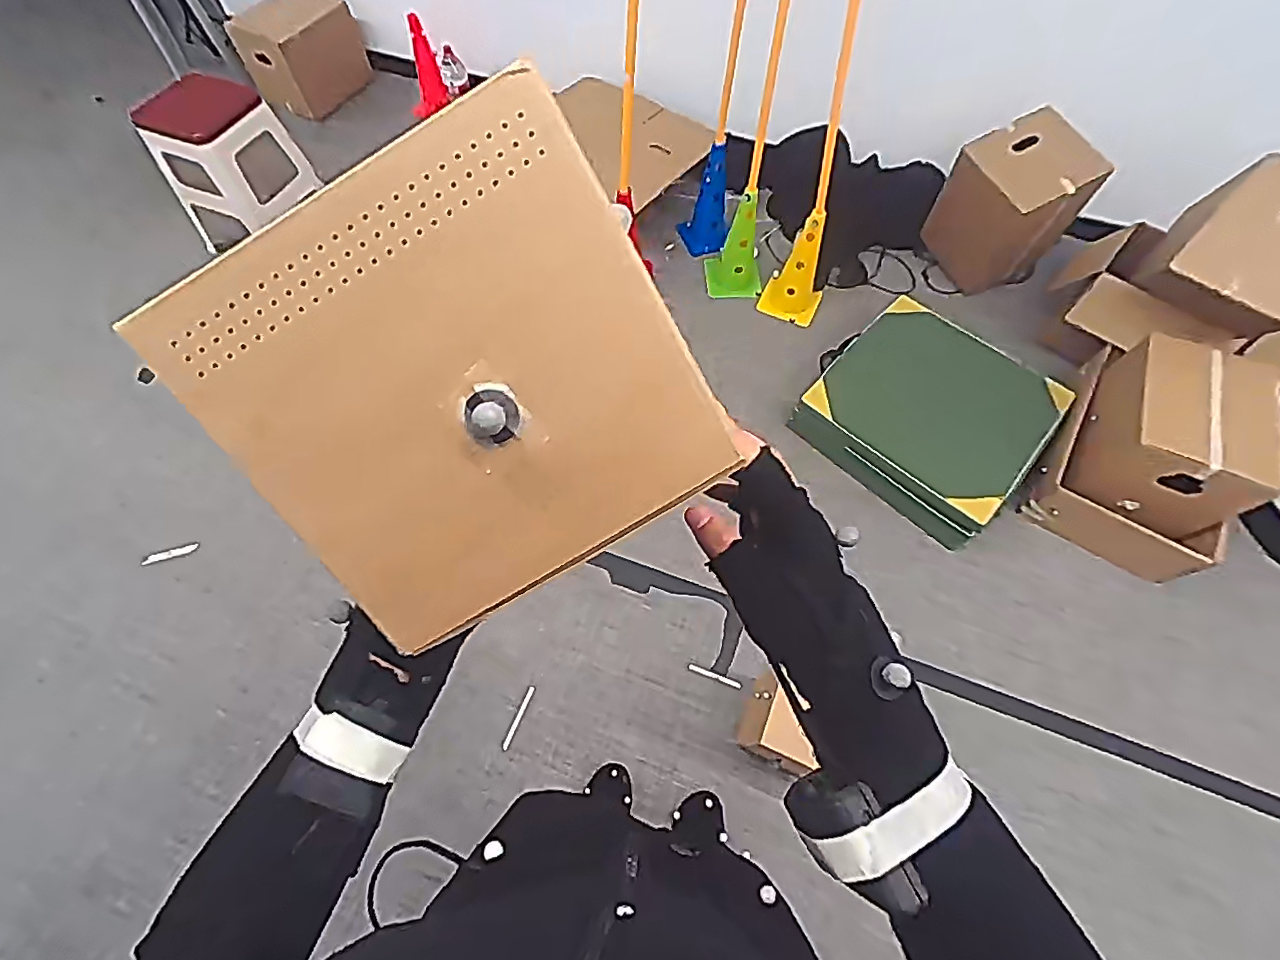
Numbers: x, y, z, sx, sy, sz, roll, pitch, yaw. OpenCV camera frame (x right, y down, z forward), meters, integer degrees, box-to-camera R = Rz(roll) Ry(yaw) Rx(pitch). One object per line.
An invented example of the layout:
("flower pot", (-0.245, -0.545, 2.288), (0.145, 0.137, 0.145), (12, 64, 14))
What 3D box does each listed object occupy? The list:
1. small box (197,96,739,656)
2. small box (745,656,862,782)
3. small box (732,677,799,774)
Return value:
("small box", (-0.079, -0.051, 0.290), (0.179, 0.168, 0.176), (-31, 108, 4))
("small box", (0.327, 0.489, 1.107), (0.168, 0.176, 0.179), (23, 65, 11))
("small box", (0.333, 0.564, 1.252), (0.179, 0.176, 0.168), (24, 64, 9))
